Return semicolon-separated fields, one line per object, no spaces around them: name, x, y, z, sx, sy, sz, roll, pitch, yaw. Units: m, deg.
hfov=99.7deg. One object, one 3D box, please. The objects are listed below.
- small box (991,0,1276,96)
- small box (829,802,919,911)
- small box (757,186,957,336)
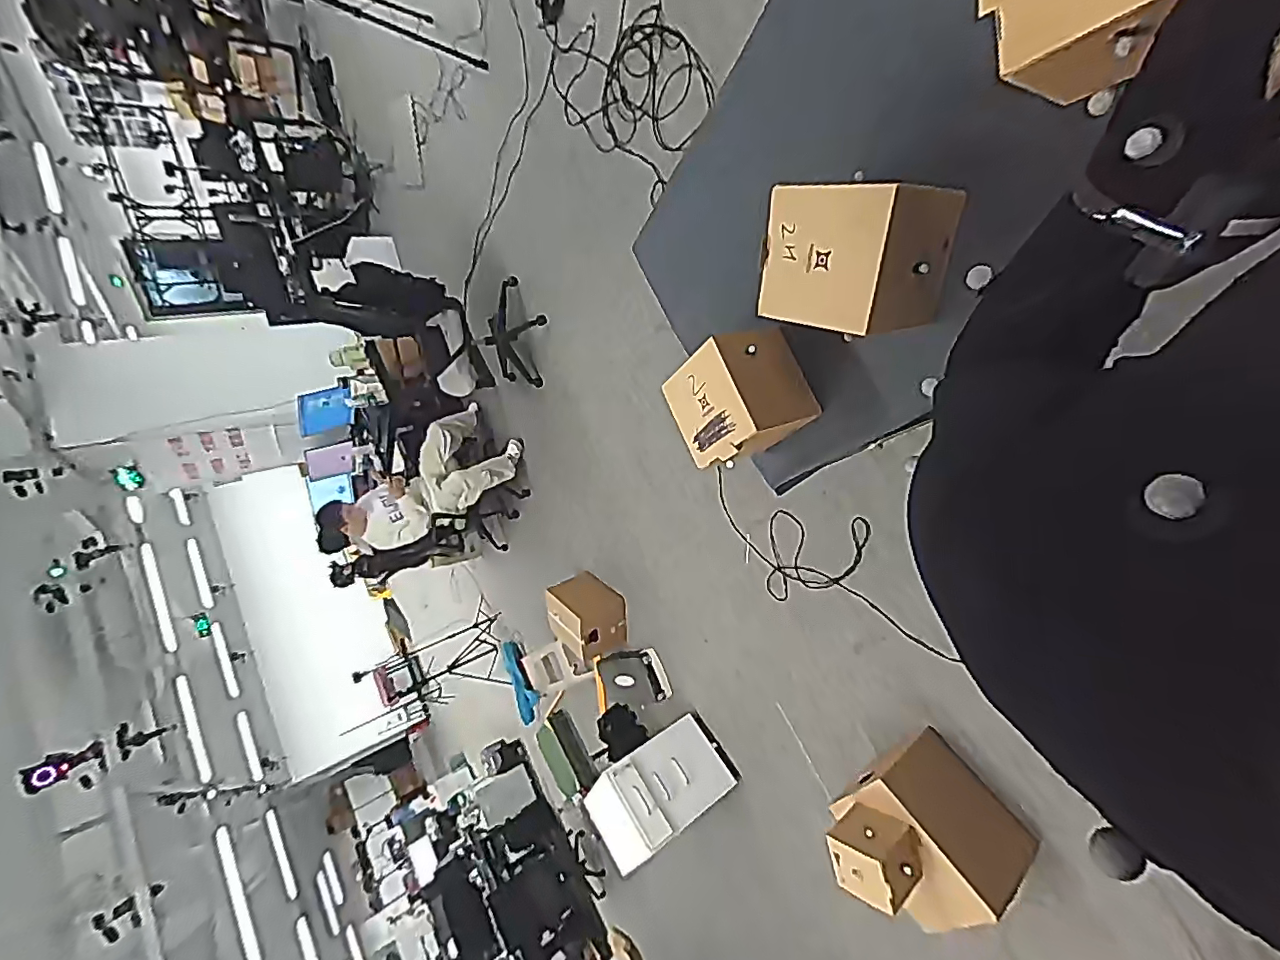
small box;0.425;-0.462;0.455;0.179;0.176;0.168;4;108;55
small box;0.687;1.082;1.574;0.179;0.176;0.168;-10;97;53
small box;0.286;-0.299;0.725;0.179;0.176;0.168;31;128;45
